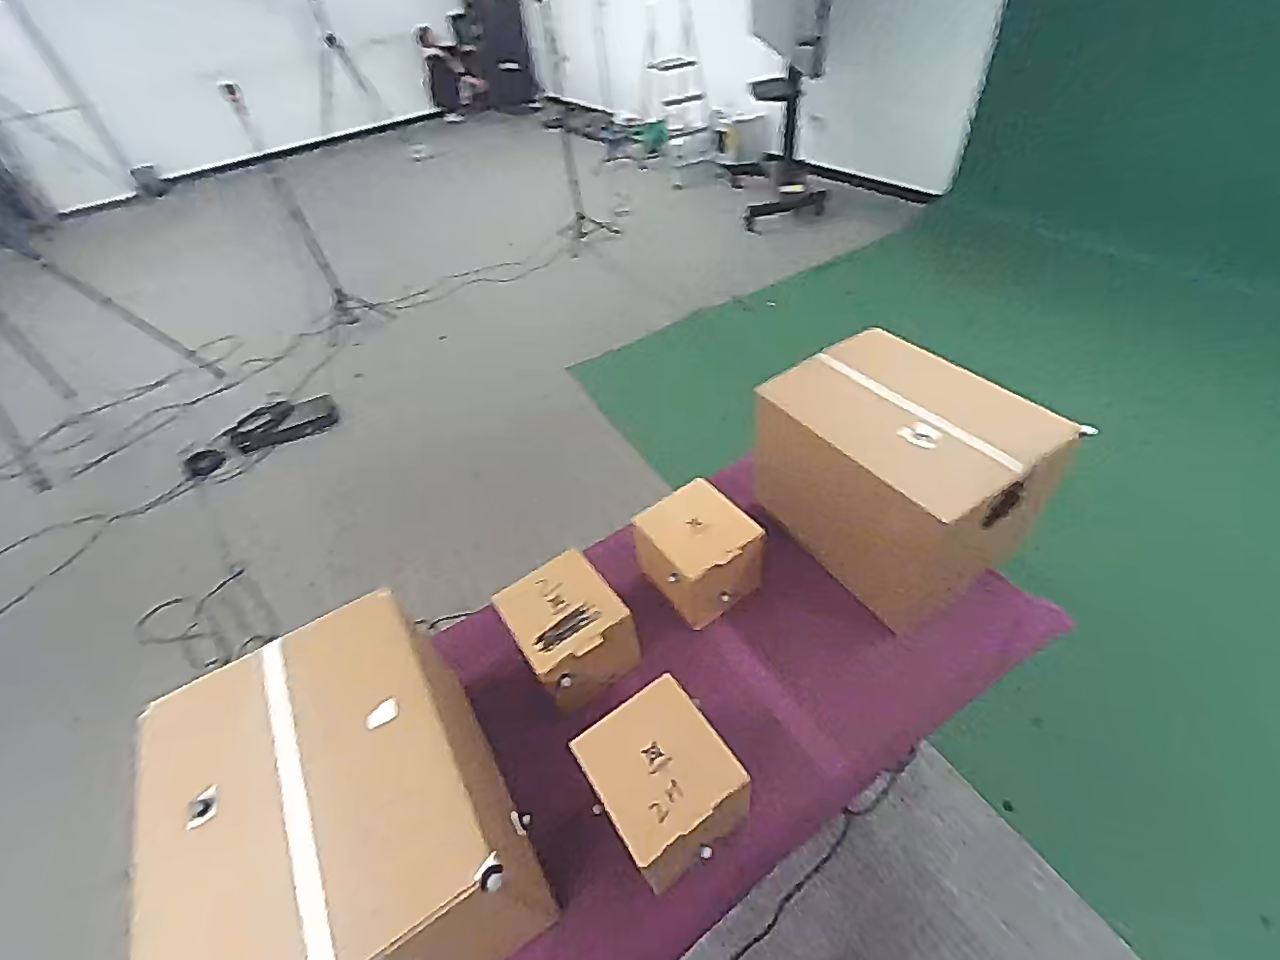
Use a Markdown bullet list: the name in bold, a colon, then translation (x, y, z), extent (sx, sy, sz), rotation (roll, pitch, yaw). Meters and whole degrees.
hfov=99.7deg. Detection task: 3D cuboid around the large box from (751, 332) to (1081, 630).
- **large box**: translation (0.456, -0.014, 1.006), extent (0.320, 0.320, 0.408), rotation (-29, 49, -17)
